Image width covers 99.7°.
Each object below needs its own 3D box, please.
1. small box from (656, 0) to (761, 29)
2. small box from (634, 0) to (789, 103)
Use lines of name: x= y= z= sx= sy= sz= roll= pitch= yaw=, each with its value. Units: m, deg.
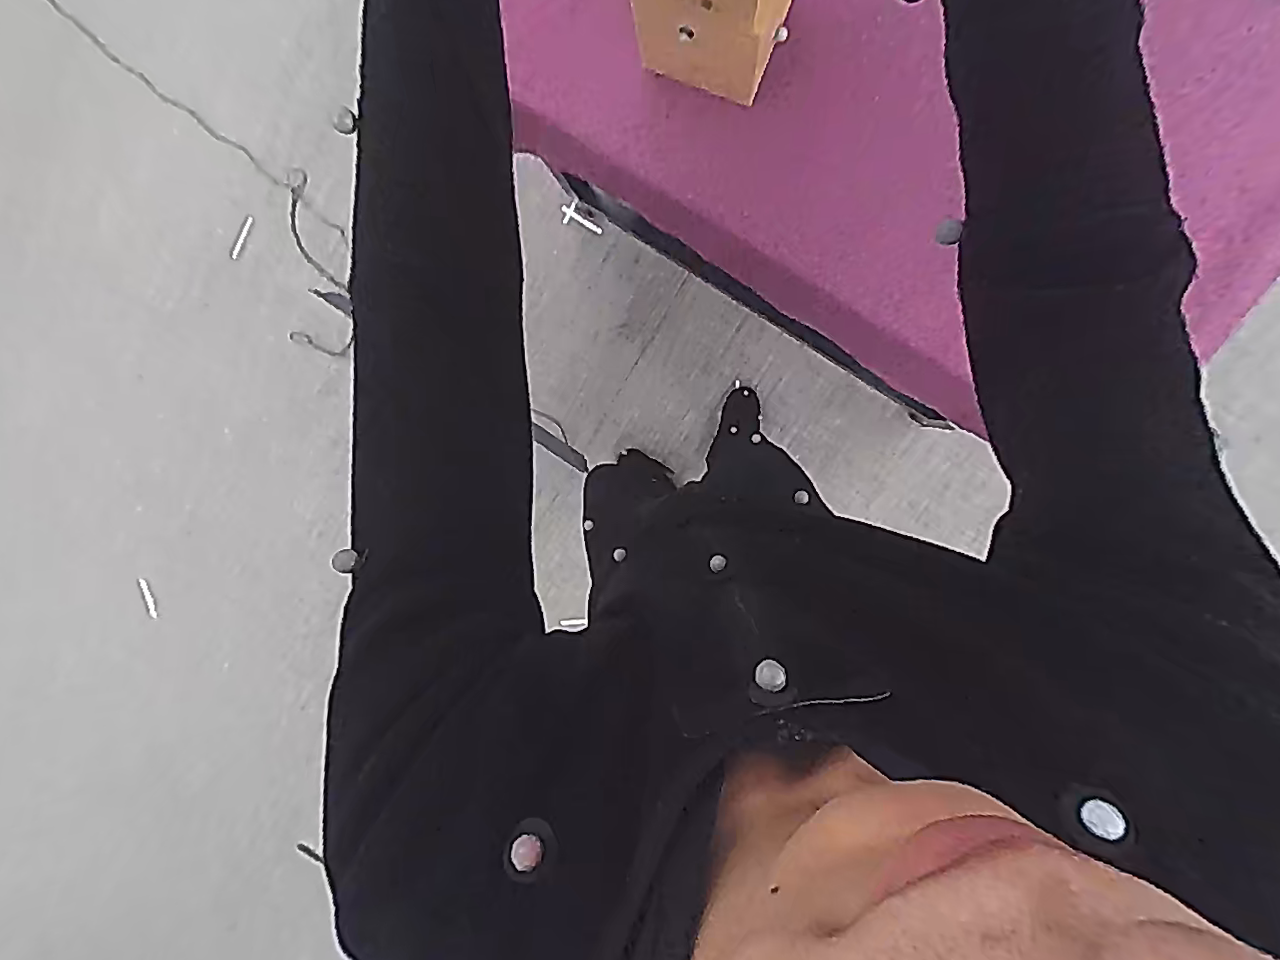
small box: x=0.076 y=-0.632 z=0.557 sx=0.168 sy=0.176 sz=0.179 roll=21 pitch=101 yaw=4
small box: x=0.101 y=-0.648 z=0.719 sx=0.179 sy=0.176 sz=0.168 roll=22 pitch=101 yaw=2
